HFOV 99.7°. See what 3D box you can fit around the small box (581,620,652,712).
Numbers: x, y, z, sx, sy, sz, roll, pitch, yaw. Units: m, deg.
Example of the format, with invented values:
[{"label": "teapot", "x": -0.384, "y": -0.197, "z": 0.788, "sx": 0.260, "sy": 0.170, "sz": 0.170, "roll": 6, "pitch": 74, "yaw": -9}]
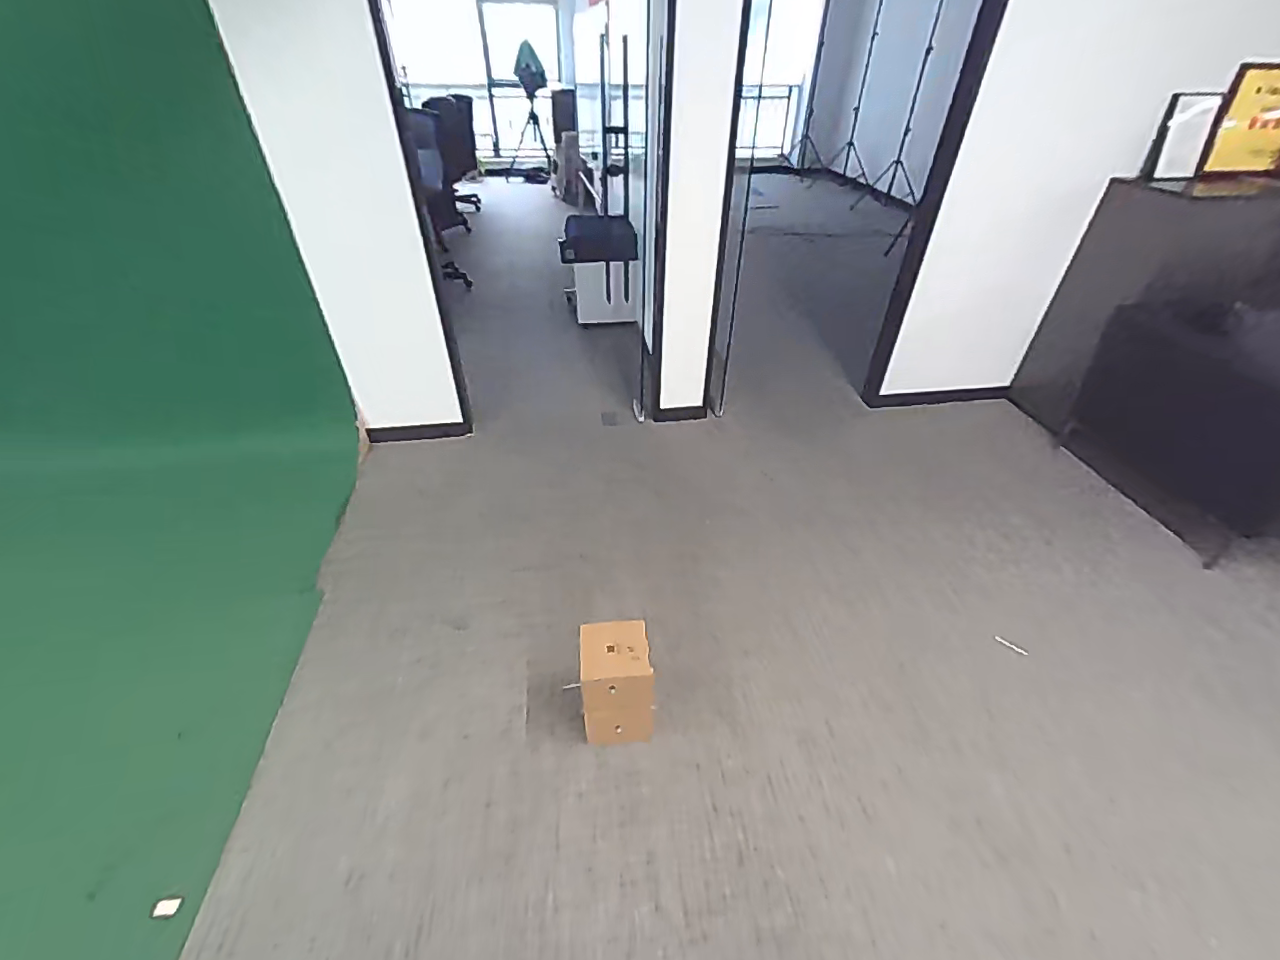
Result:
[{"label": "small box", "x": -0.062, "y": 0.494, "z": 1.428, "sx": 0.179, "sy": 0.176, "sz": 0.168, "roll": -3, "pitch": 40, "yaw": -4}]
